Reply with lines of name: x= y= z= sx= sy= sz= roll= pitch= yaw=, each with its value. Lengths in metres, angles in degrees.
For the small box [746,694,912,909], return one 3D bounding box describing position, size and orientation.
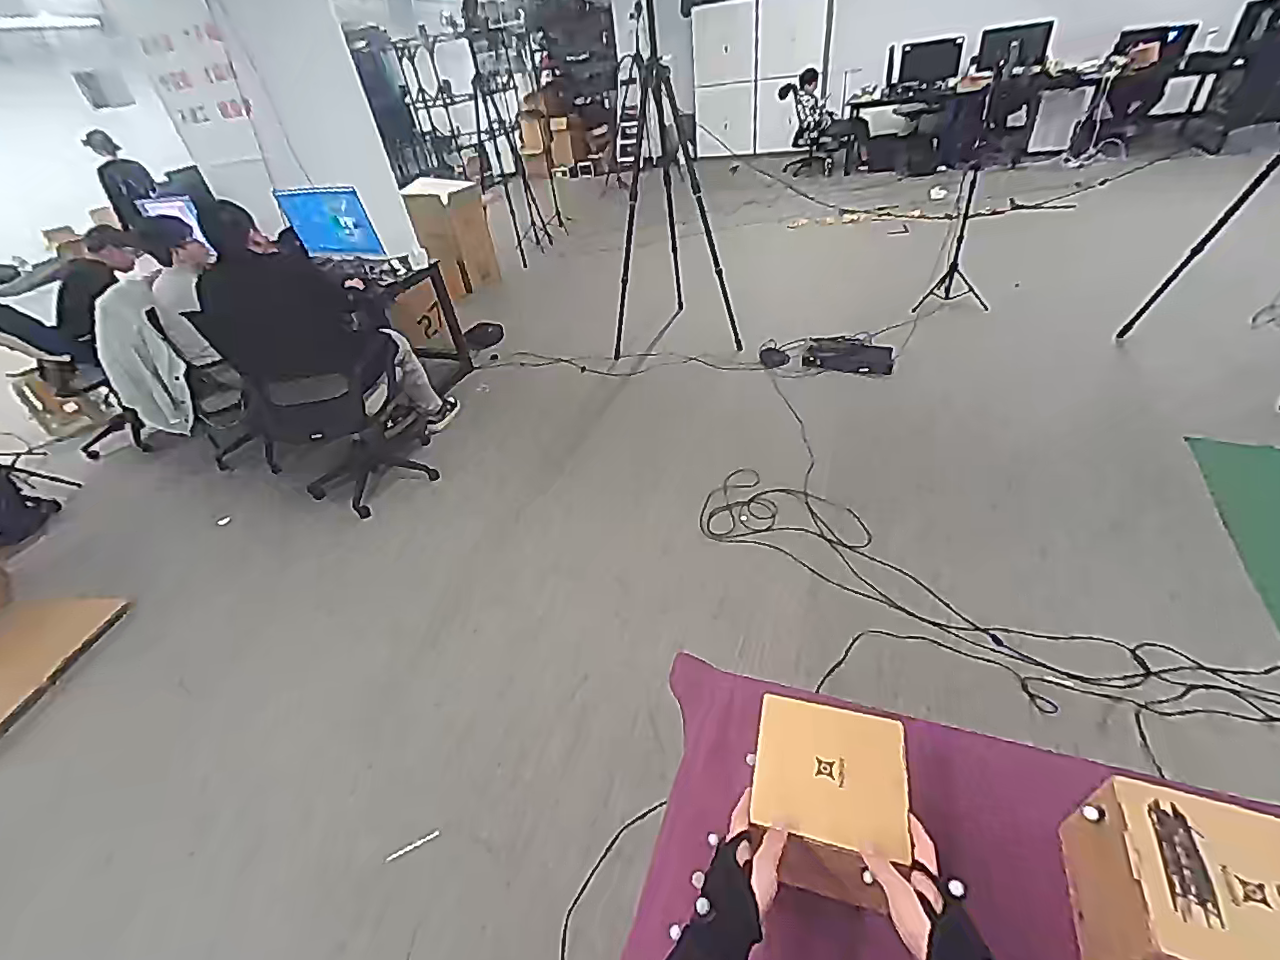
small box: x=0.233 y=0.409 z=0.693 sx=0.179 sy=0.176 sz=0.168 roll=7 pitch=39 yaw=17
